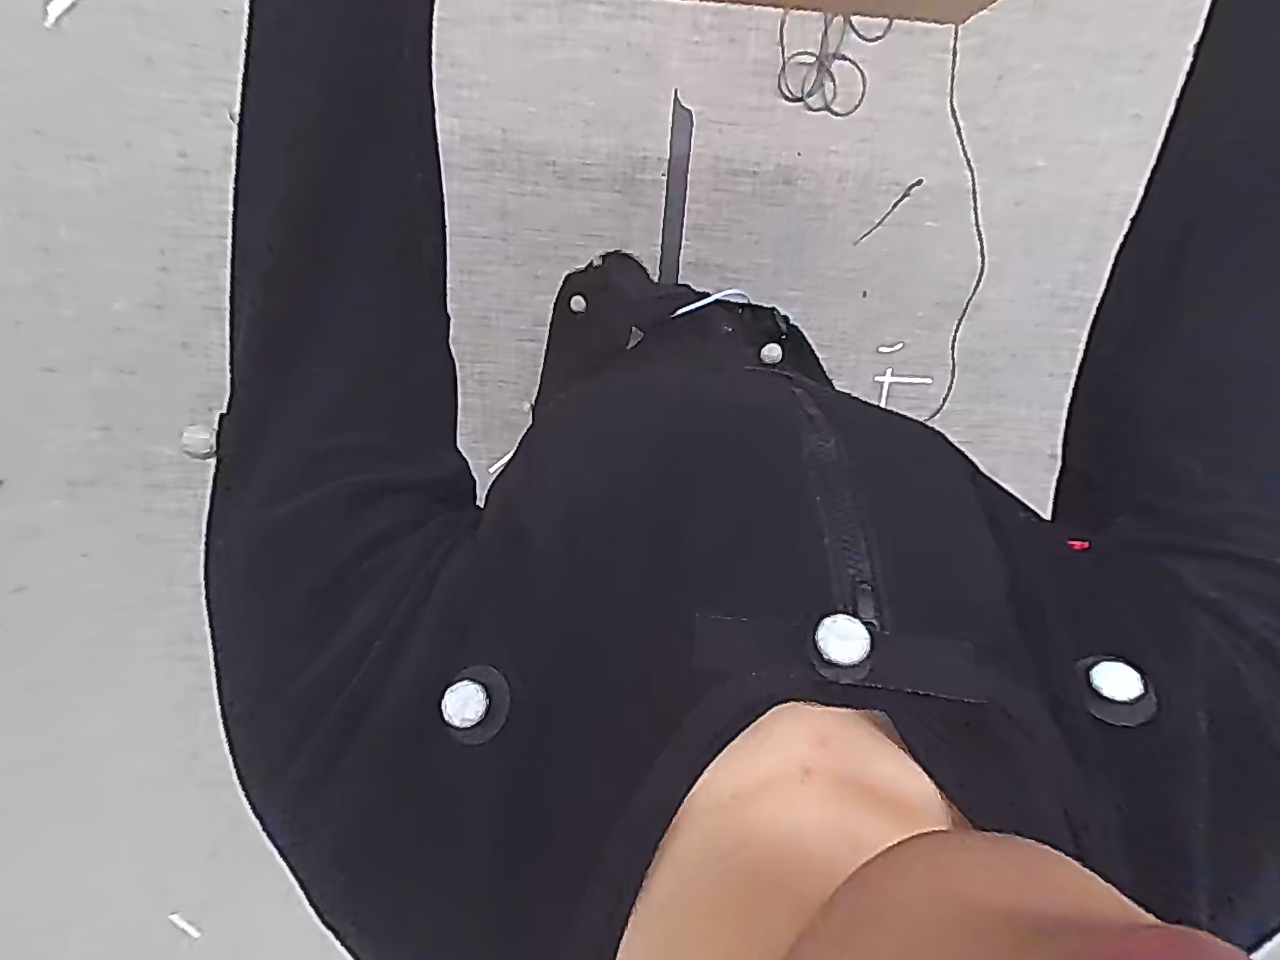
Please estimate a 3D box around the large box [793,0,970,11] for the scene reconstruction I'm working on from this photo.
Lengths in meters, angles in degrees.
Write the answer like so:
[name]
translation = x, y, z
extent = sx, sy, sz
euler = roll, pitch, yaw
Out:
[large box]
translation = 0.132, -0.560, 0.351
extent = 0.408, 0.320, 0.320
euler = 5, 117, -1
